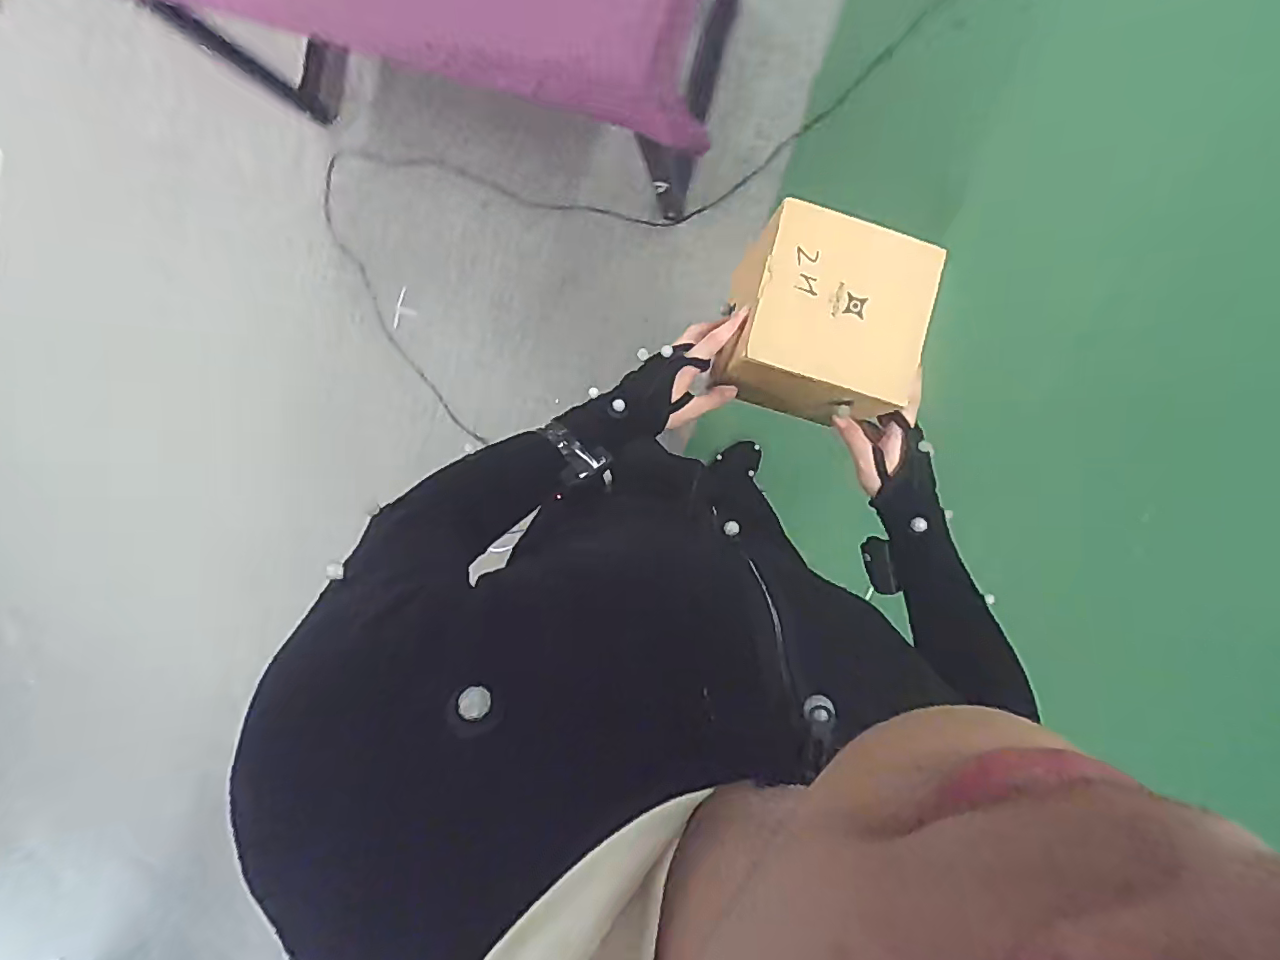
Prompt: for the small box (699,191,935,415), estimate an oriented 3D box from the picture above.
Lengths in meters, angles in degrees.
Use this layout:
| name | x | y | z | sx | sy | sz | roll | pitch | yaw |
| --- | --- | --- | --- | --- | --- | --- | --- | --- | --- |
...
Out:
| name | x | y | z | sx | sy | sz | roll | pitch | yaw |
| --- | --- | --- | --- | --- | --- | --- | --- | --- | --- |
| small box | 0.181 | -0.177 | 0.601 | 0.179 | 0.176 | 0.168 | 15 | 87 | -5 |
